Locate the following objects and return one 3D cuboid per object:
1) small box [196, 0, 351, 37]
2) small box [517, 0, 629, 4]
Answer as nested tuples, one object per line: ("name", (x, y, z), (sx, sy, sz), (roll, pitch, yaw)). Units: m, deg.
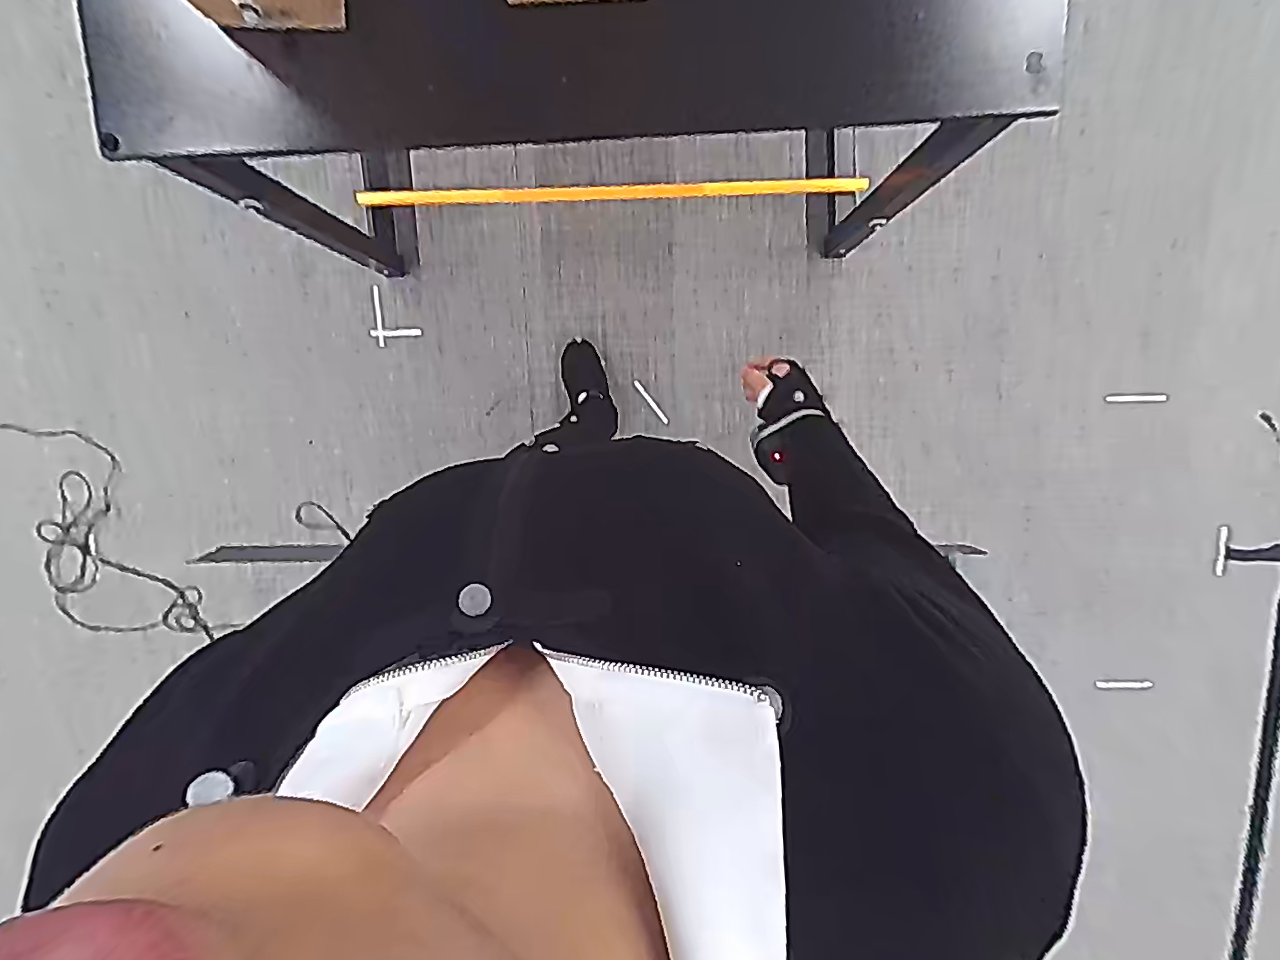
("small box", (-0.437, -0.627, 0.579), (0.168, 0.176, 0.179), (1, 98, 2))
("small box", (-0.075, -0.648, 0.568), (0.179, 0.176, 0.168), (-2, 98, 1))
